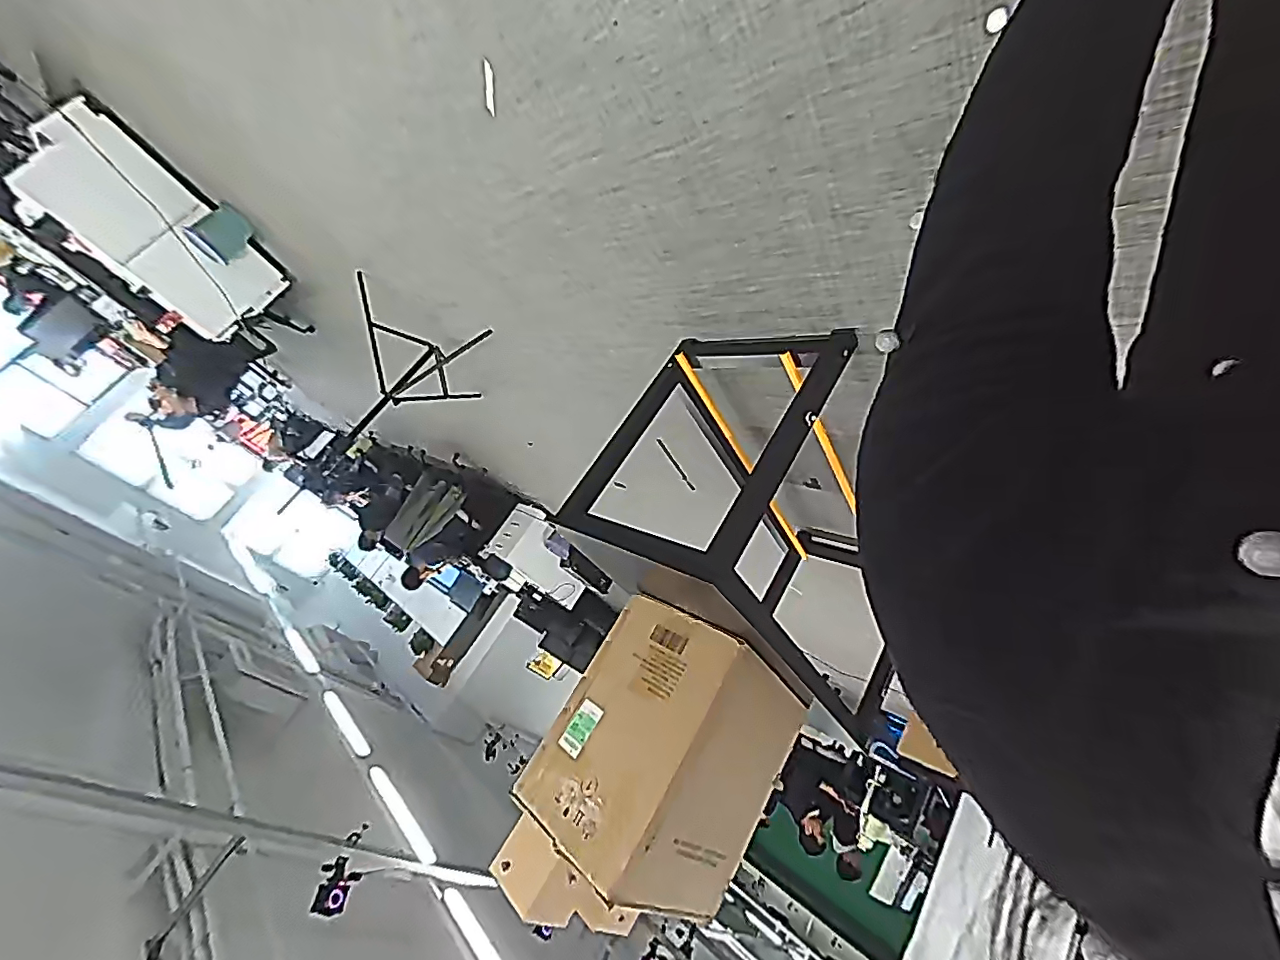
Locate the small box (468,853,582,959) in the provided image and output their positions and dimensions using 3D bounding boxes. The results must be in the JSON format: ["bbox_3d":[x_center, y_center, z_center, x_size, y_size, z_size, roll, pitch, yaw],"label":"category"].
[{"bbox_3d":[-0.273,1.040,1.309,0.179,0.176,0.168,14,155,47],"label":"small box"}]

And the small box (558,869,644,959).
[{"bbox_3d":[-0.120,1.212,1.479,0.168,0.176,0.179,15,152,45],"label":"small box"}]
